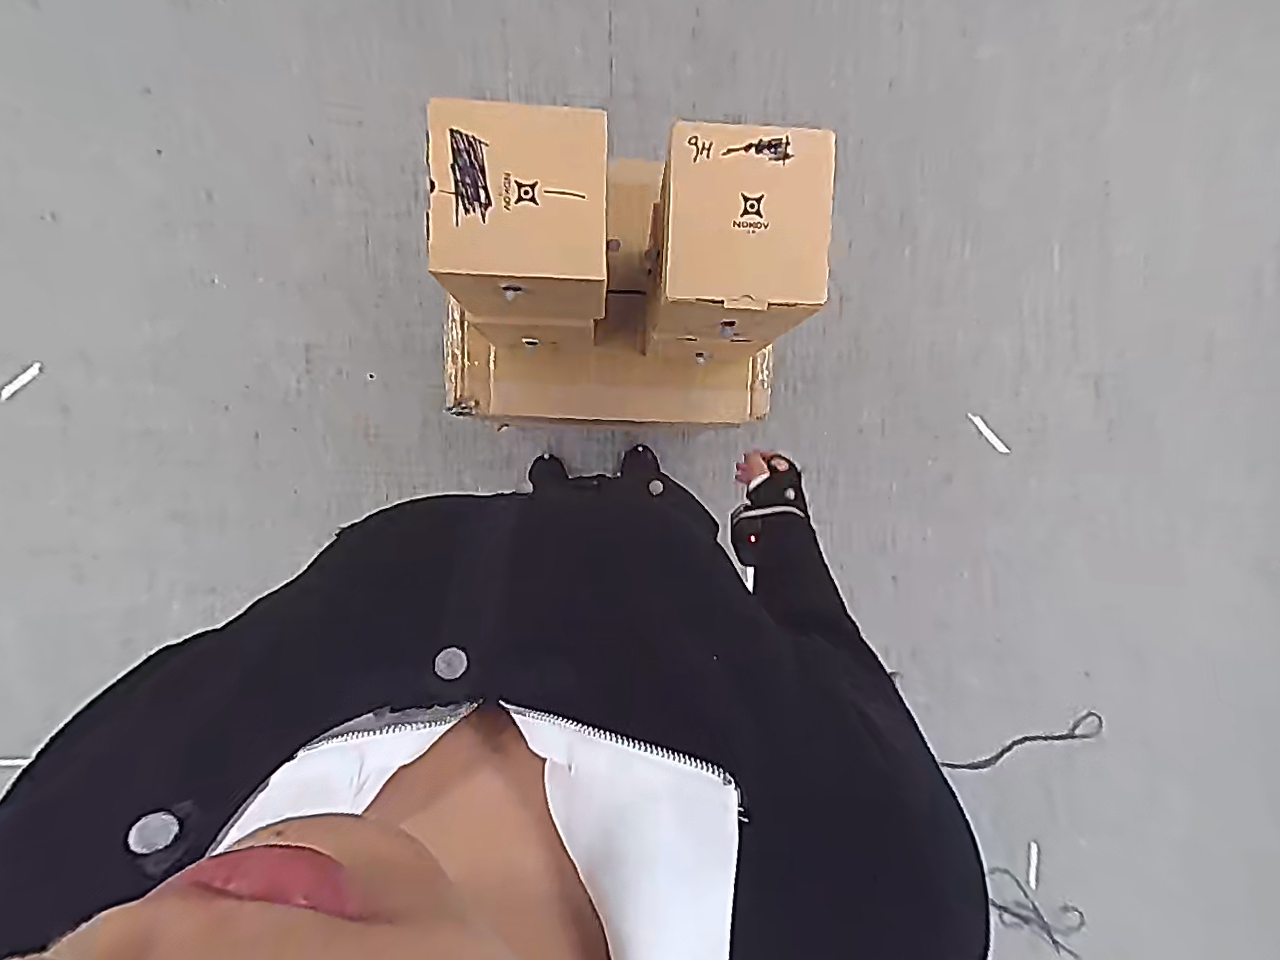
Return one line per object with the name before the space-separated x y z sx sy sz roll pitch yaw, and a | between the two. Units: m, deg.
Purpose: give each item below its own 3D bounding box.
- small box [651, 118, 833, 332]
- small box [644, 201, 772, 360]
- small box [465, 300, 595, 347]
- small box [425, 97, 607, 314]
small box | 0.103 -0.273 0.621 0.168 0.176 0.179 2 94 -4
small box | 0.092 -0.278 0.787 0.168 0.176 0.179 1 94 -2
small box | -0.147 -0.295 0.772 0.168 0.176 0.179 1 95 -3
small box | -0.127 -0.290 0.609 0.179 0.176 0.168 1 94 -5
